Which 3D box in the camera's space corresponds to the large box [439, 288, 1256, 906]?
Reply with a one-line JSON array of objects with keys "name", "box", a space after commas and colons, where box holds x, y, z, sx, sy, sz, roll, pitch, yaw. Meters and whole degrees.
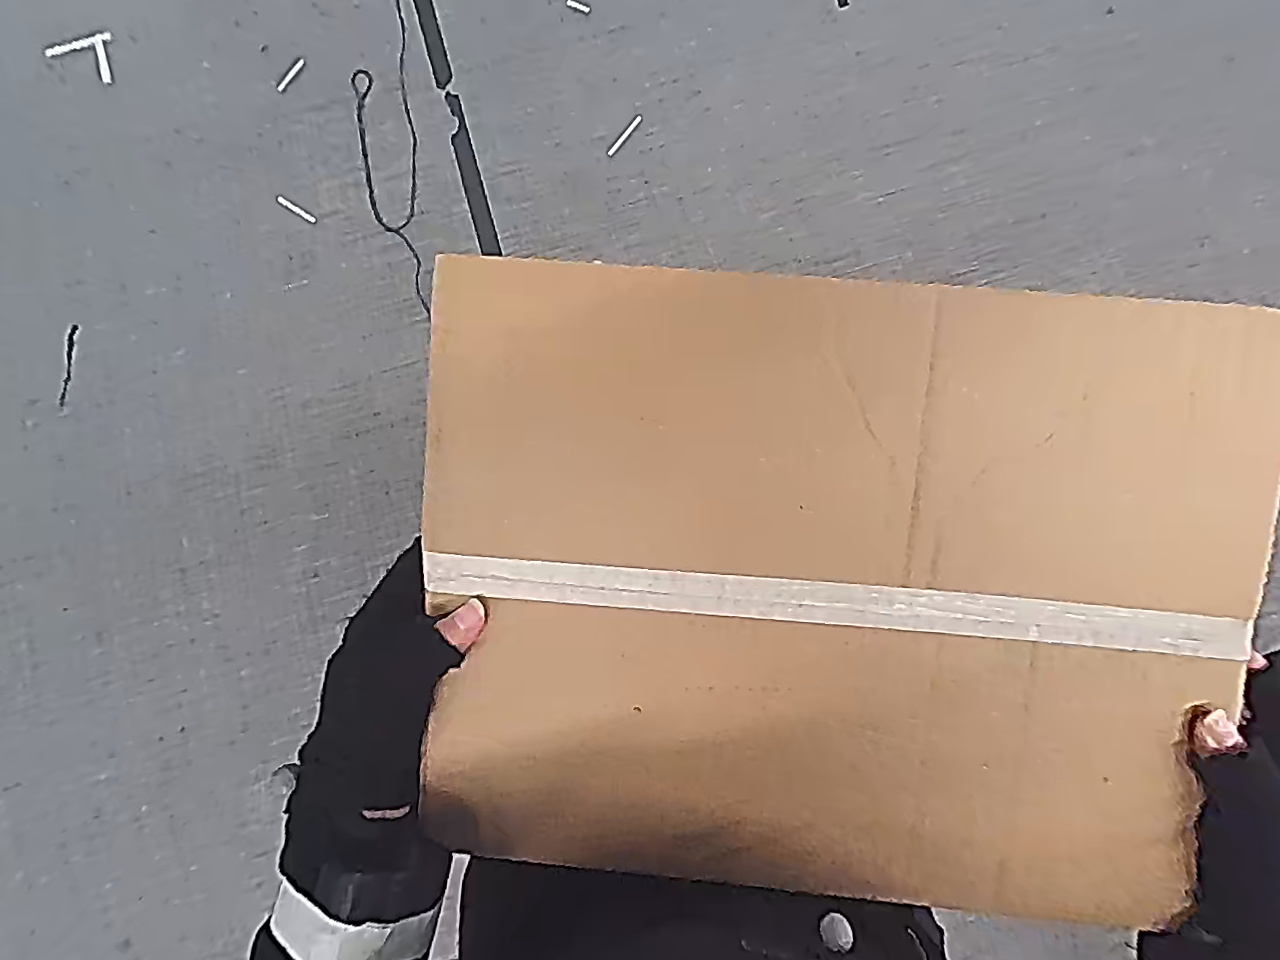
[{"name": "large box", "box": [0.097, 0.052, 0.430, 0.408, 0.320, 0.320, 4, 97, 3]}]
